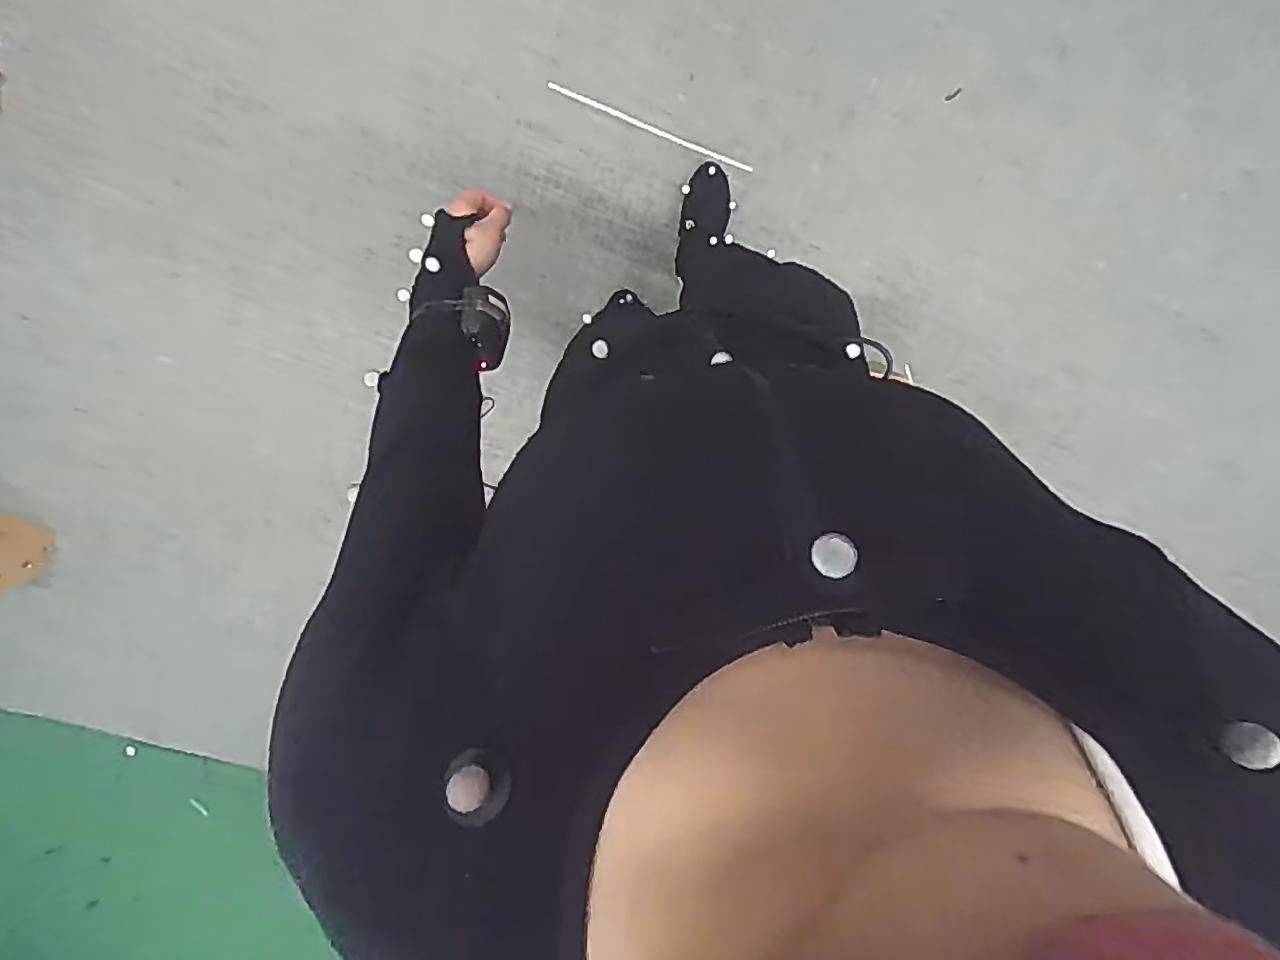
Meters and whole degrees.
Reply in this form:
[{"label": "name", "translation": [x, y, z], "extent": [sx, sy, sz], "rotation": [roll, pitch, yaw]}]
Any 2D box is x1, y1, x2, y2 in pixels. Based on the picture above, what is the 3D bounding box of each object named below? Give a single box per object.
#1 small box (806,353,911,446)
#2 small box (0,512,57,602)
[{"label": "small box", "translation": [0.537, -0.208, 1.360], "extent": [0.168, 0.176, 0.179], "rotation": [10, 116, -4]}, {"label": "small box", "translation": [-1.893, 0.221, 1.591], "extent": [0.179, 0.176, 0.168], "rotation": [30, 112, -13]}]
